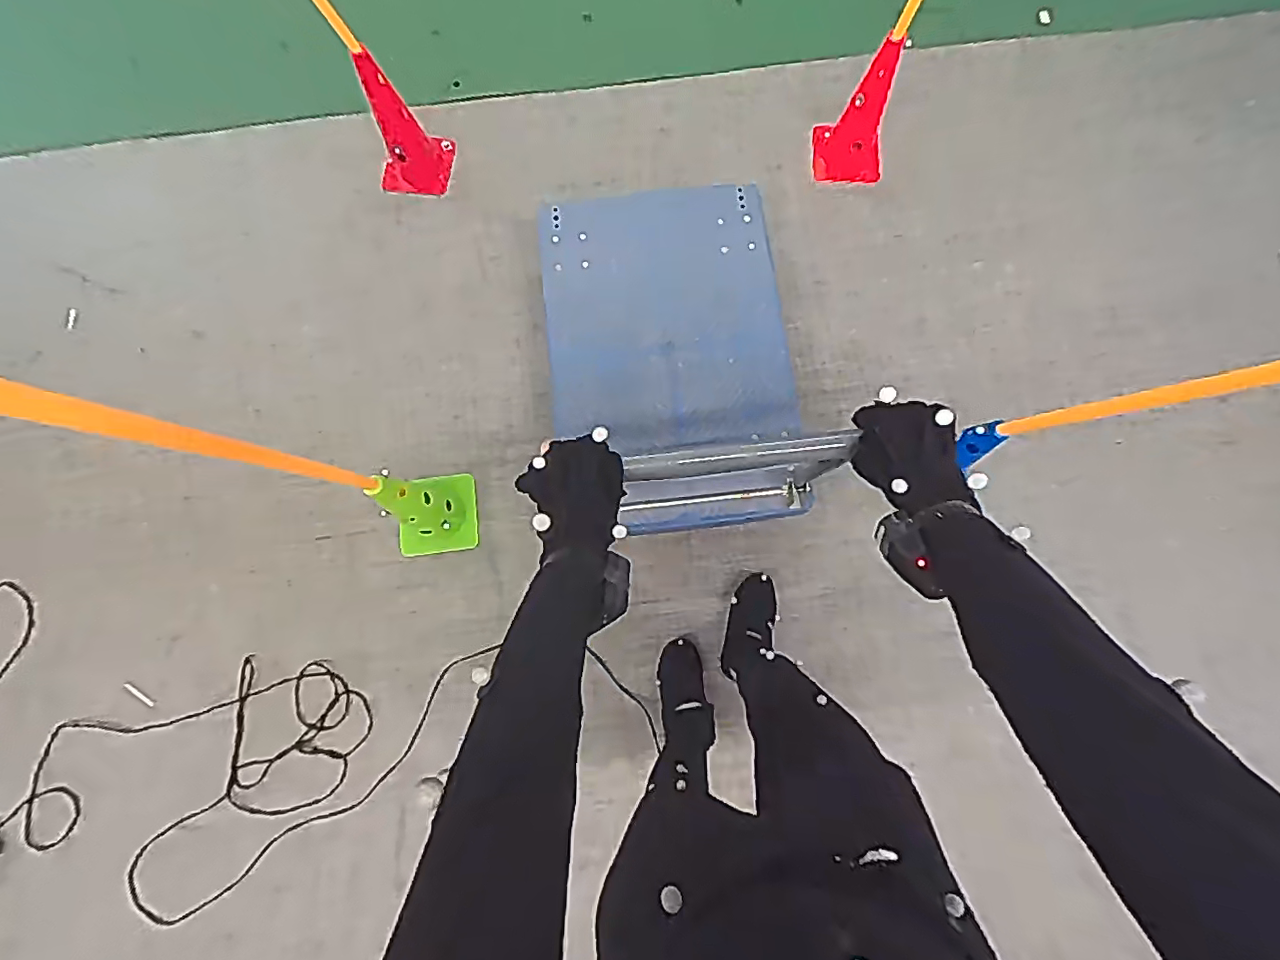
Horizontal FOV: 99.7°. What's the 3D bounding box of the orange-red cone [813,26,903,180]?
[{"bbox_3d":[0.610,-1.016,1.444,0.198,0.360,0.199,4,79,3],"label":"orange-red cone"}]
